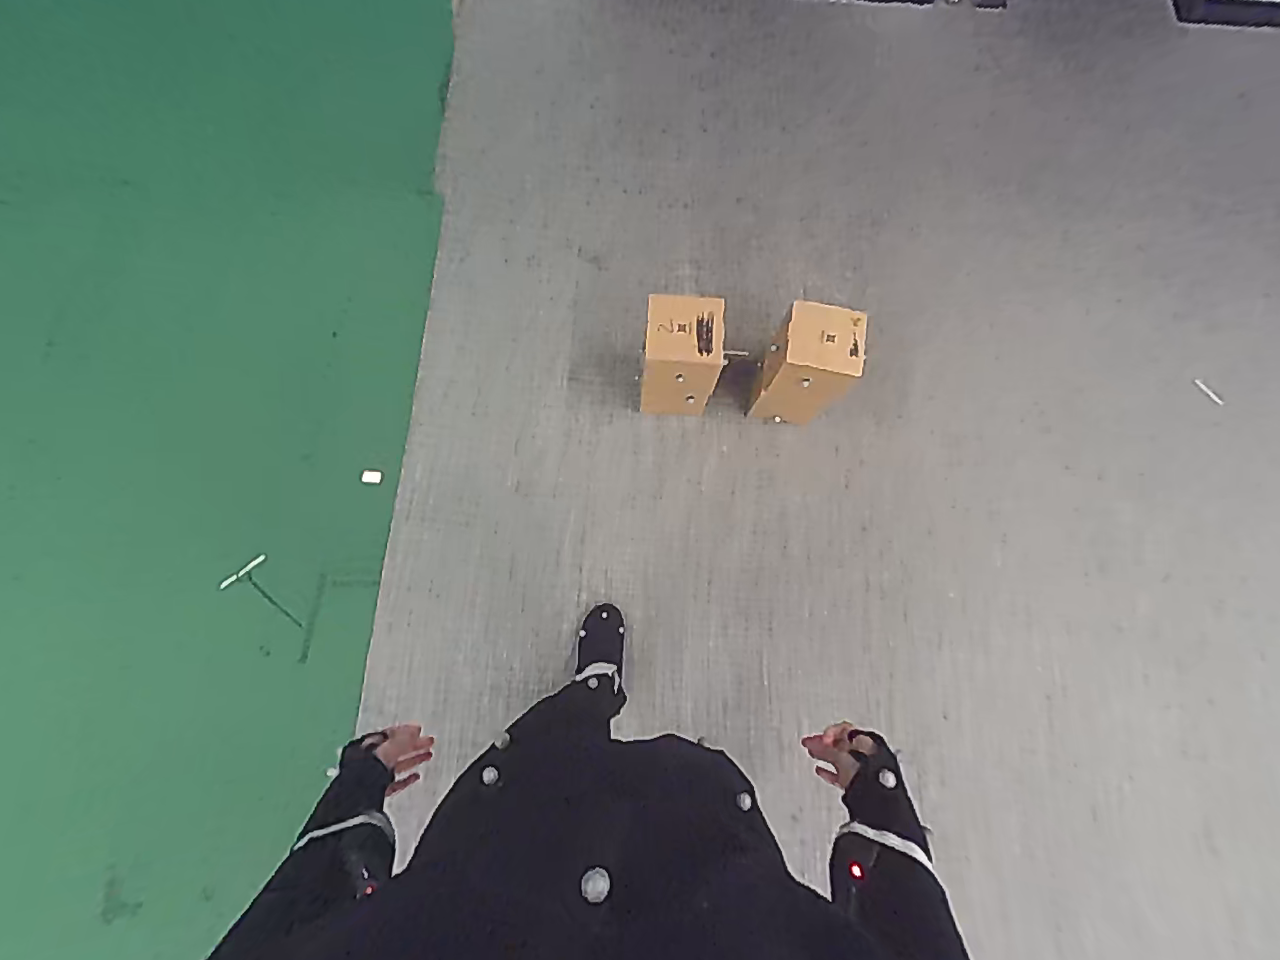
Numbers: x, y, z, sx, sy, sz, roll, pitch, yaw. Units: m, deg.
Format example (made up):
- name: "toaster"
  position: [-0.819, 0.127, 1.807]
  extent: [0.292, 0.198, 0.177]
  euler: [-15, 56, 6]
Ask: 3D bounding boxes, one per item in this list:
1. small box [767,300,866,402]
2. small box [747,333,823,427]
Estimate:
- name: "small box"
  position: [0.415, -0.302, 1.297]
  extent: [0.179, 0.176, 0.168]
  euler: [11, 75, 2]
- name: "small box"
  position: [0.395, -0.265, 1.457]
  extent: [0.168, 0.176, 0.179]
  euler: [12, 75, 2]
